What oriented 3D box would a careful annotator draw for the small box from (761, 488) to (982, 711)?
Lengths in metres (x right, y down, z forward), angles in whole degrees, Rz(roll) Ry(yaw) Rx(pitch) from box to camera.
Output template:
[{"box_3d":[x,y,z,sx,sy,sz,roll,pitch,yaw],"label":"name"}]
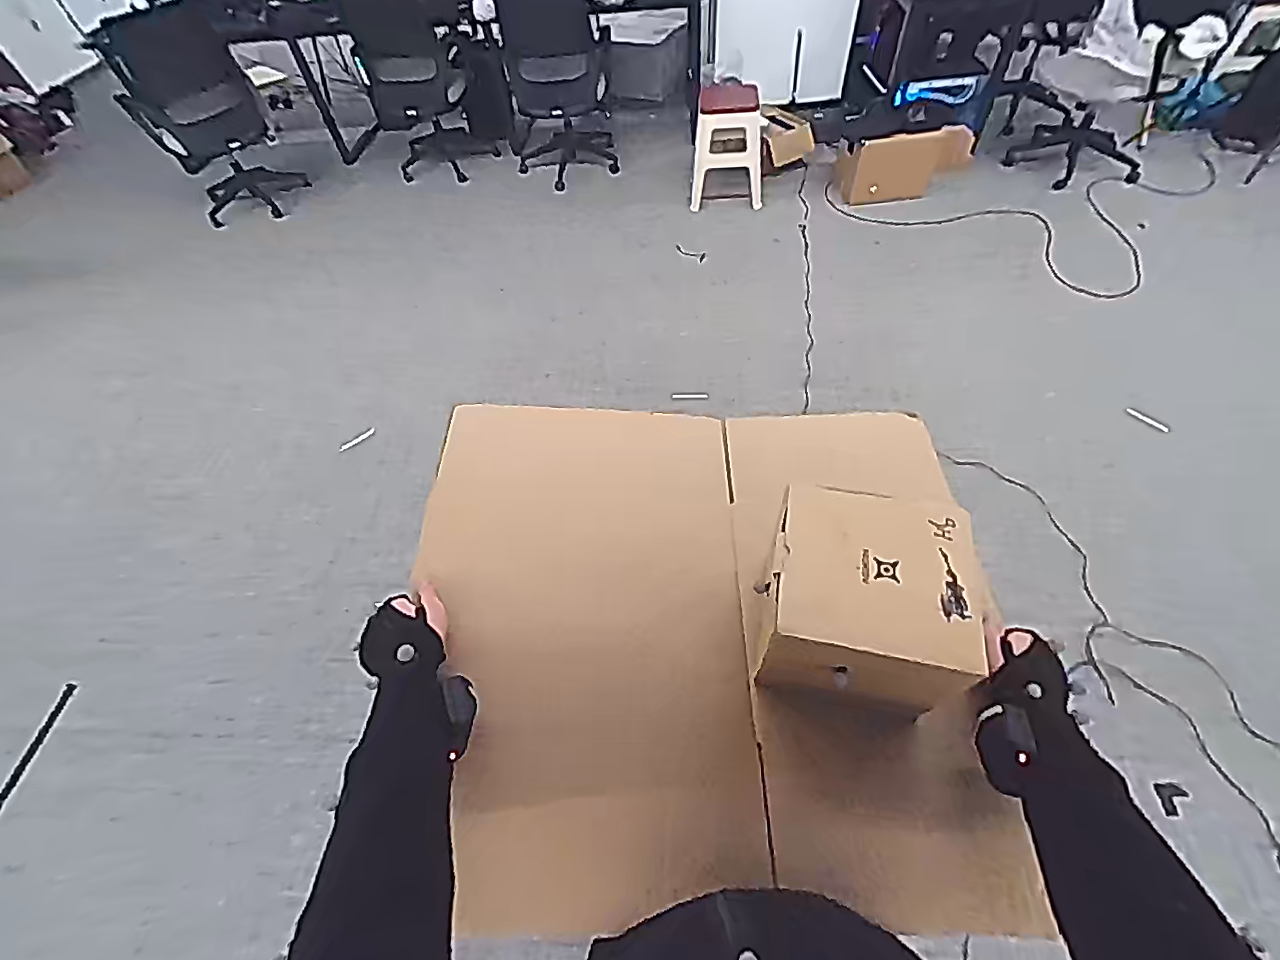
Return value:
[{"box_3d":[0.229,0.131,0.577,0.179,0.176,0.168,8,57,12],"label":"small box"}]
